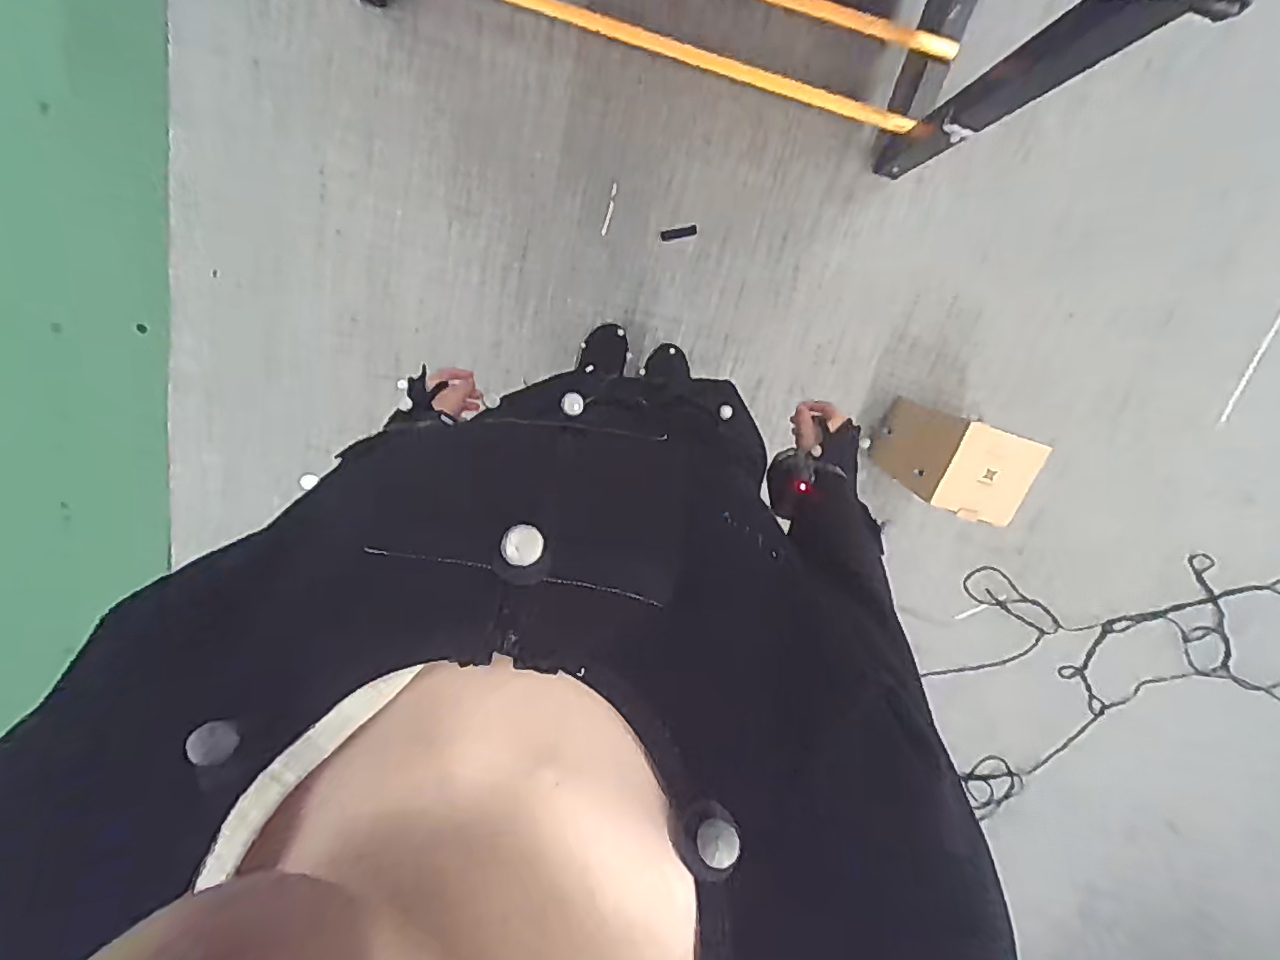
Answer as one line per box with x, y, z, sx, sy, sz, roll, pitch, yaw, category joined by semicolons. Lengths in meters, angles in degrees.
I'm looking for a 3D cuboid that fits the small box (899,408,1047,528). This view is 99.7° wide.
0.657;-0.030;1.097;0.168;0.176;0.179;17;107;-4;small box

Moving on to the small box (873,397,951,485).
0.668;-0.076;1.254;0.168;0.176;0.179;19;109;-3;small box
